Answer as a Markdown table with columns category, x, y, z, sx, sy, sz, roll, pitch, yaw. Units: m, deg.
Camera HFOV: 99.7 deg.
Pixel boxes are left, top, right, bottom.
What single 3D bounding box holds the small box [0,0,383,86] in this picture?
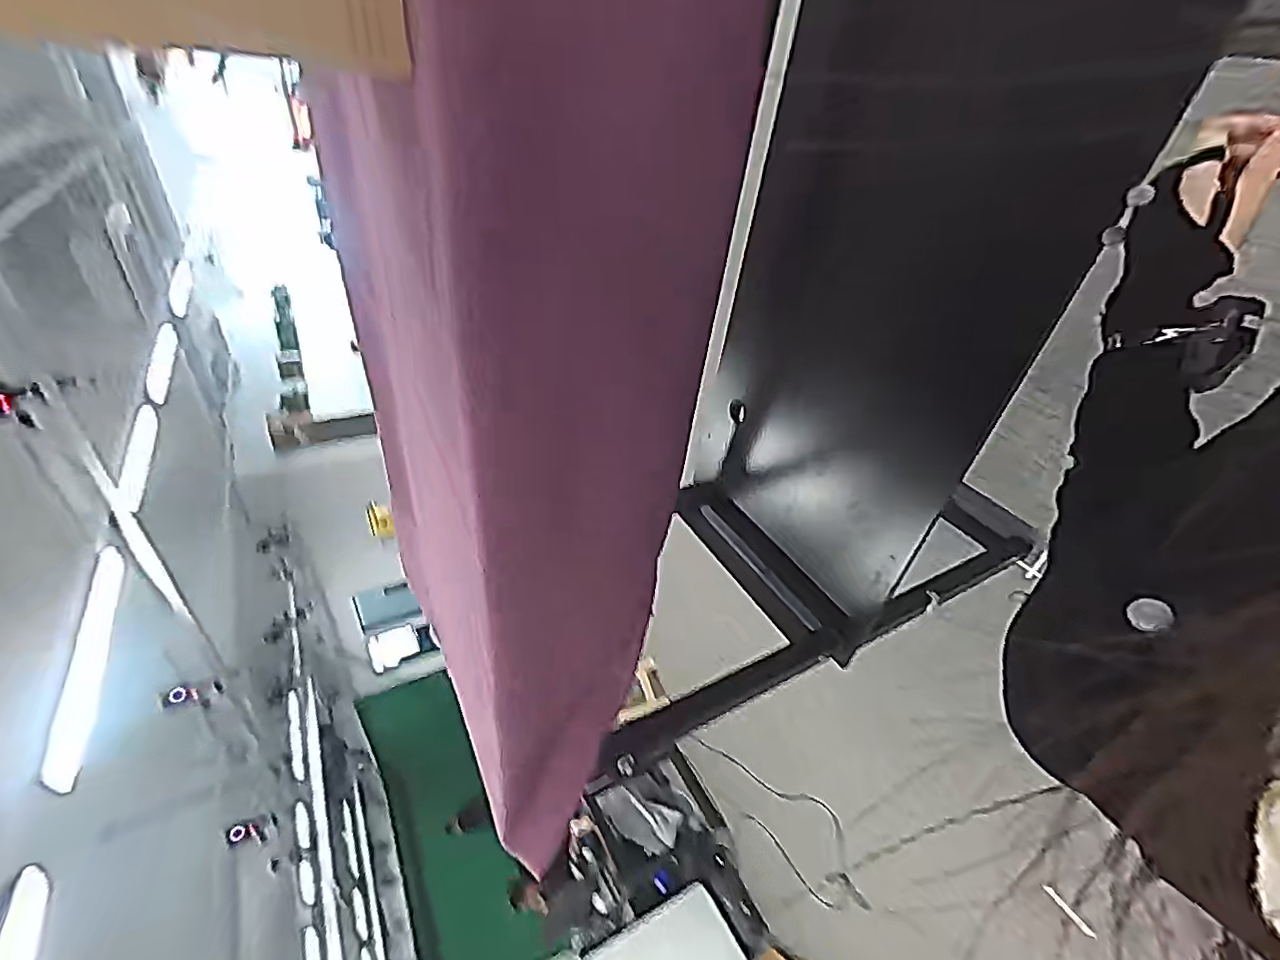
| category | x | y | z | sx | sy | sz | roll | pitch | yaw |
| --- | --- | --- | --- | --- | --- | --- | --- | --- | --- |
| small box | -0.233 | -0.298 | 0.258 | 0.179 | 0.176 | 0.168 | 48 | 143 | 44 |
